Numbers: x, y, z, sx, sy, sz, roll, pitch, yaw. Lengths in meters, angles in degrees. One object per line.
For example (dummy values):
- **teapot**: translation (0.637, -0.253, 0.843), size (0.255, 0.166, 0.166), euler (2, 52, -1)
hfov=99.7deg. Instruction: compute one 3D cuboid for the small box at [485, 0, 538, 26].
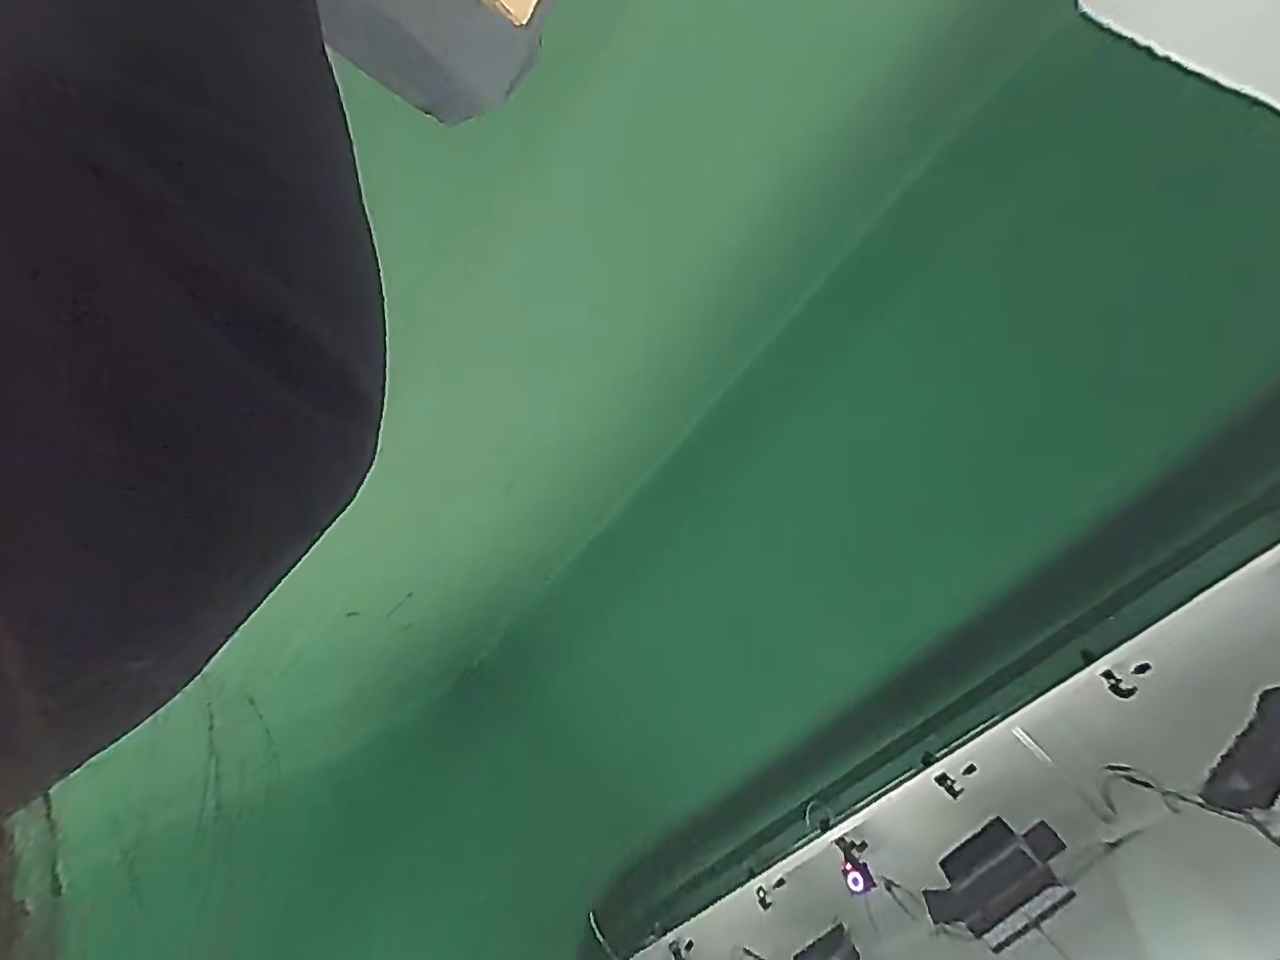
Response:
- **small box**: translation (-0.143, -0.512, 0.402), size (0.179, 0.176, 0.168), euler (-51, 158, 20)
